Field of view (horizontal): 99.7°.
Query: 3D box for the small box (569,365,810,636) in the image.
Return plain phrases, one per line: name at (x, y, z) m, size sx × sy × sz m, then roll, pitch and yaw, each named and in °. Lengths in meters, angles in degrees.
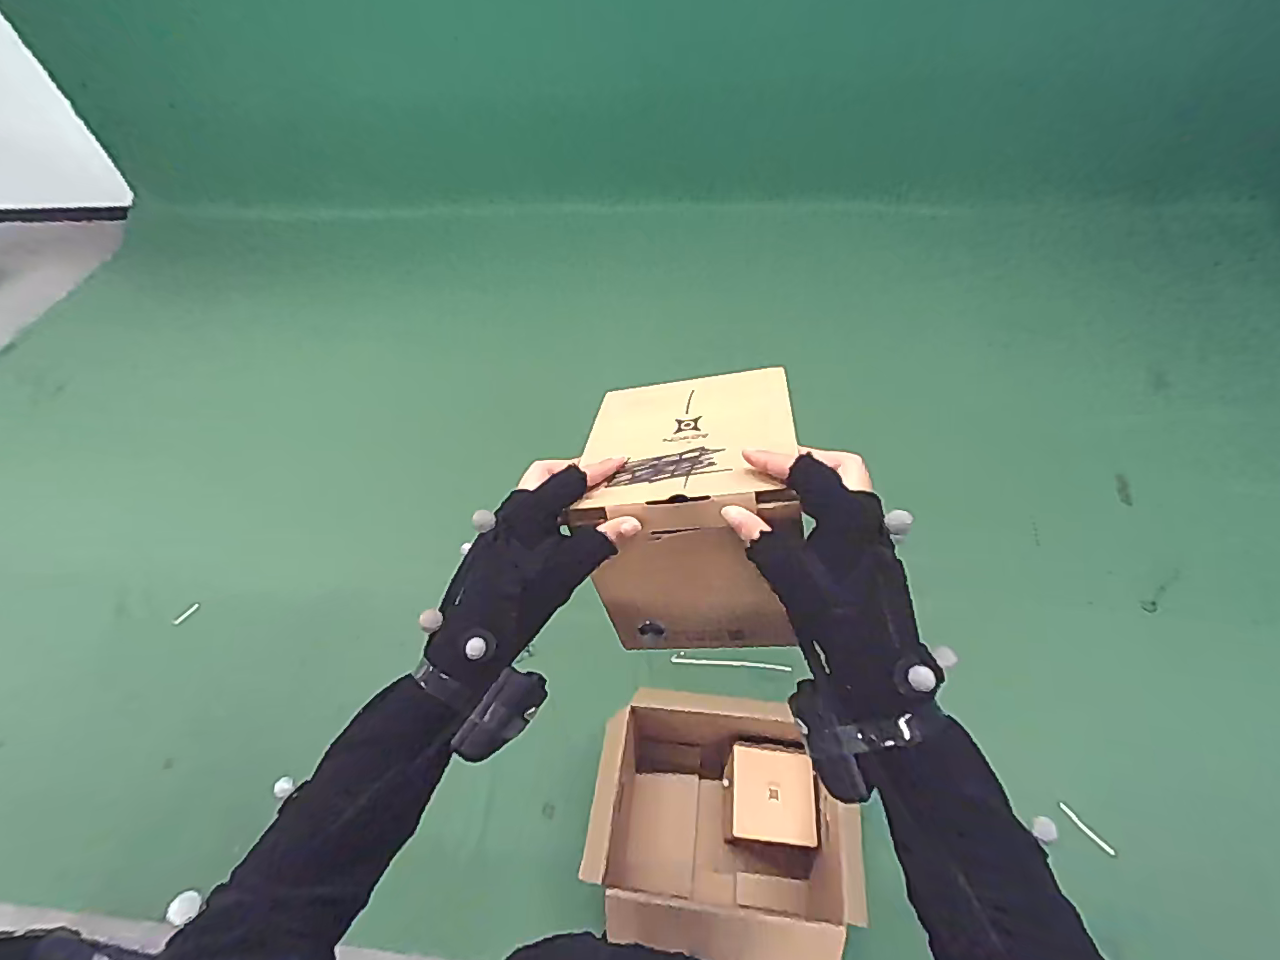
small box at (0.057, 0.024, 0.481) m, size 0.168 × 0.176 × 0.179 m, roll -5°, pitch 39°, yaw 15°
